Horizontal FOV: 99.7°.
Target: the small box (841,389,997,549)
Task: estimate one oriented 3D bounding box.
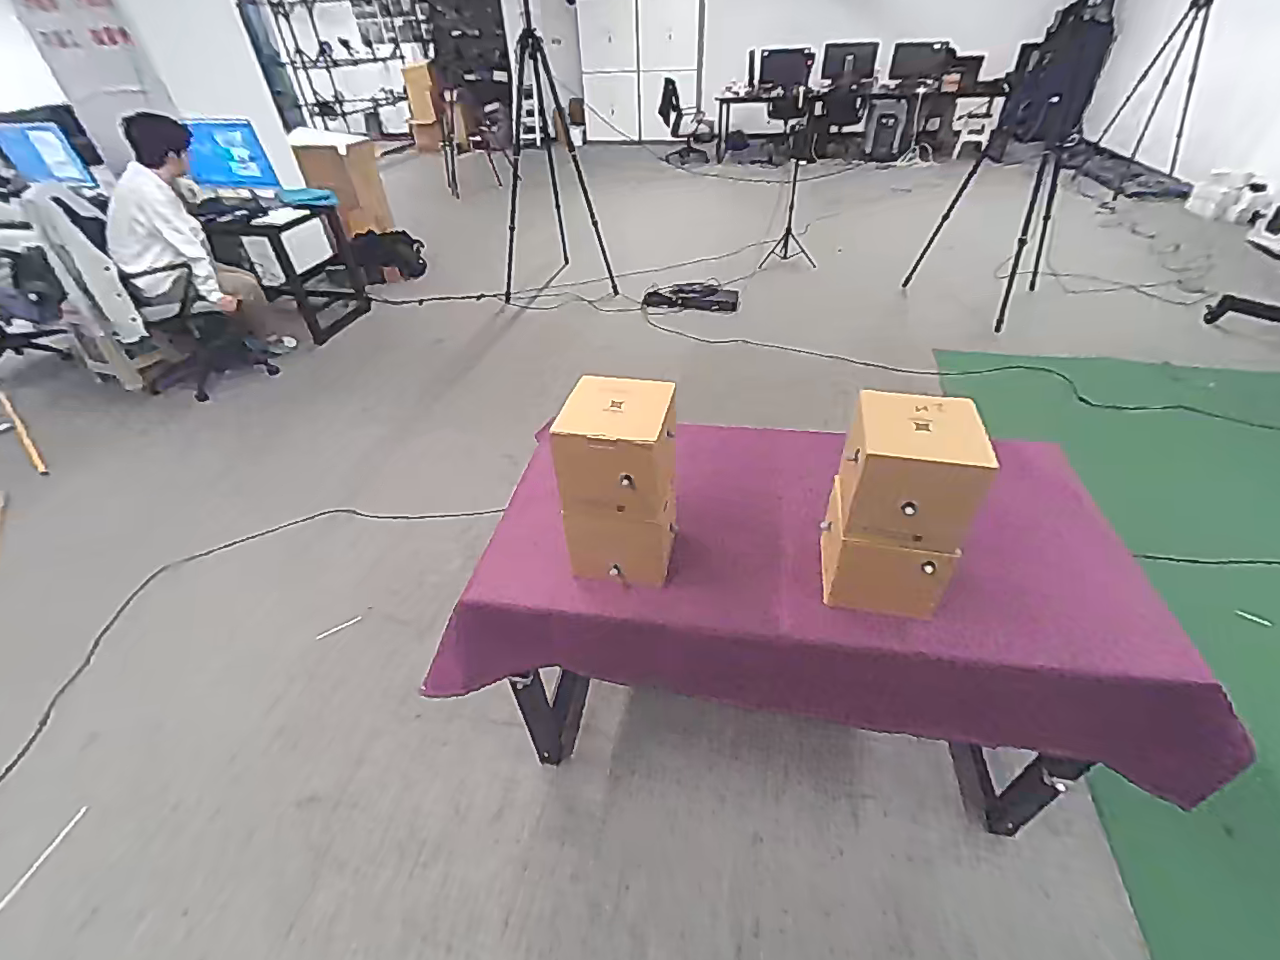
[{"bbox_3d":[0.410,-0.018,0.829,0.168,0.176,0.179,8,41,13],"label":"small box"}]

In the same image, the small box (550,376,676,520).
[{"bbox_3d":[-0.033,-0.053,0.905,0.168,0.176,0.179,7,40,12],"label":"small box"}]

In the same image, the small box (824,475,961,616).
[{"bbox_3d":[0.417,0.112,0.930,0.179,0.176,0.168,7,41,11],"label":"small box"}]

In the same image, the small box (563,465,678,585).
[{"bbox_3d":[-0.028,0.075,1.006,0.179,0.176,0.168,6,41,10],"label":"small box"}]
